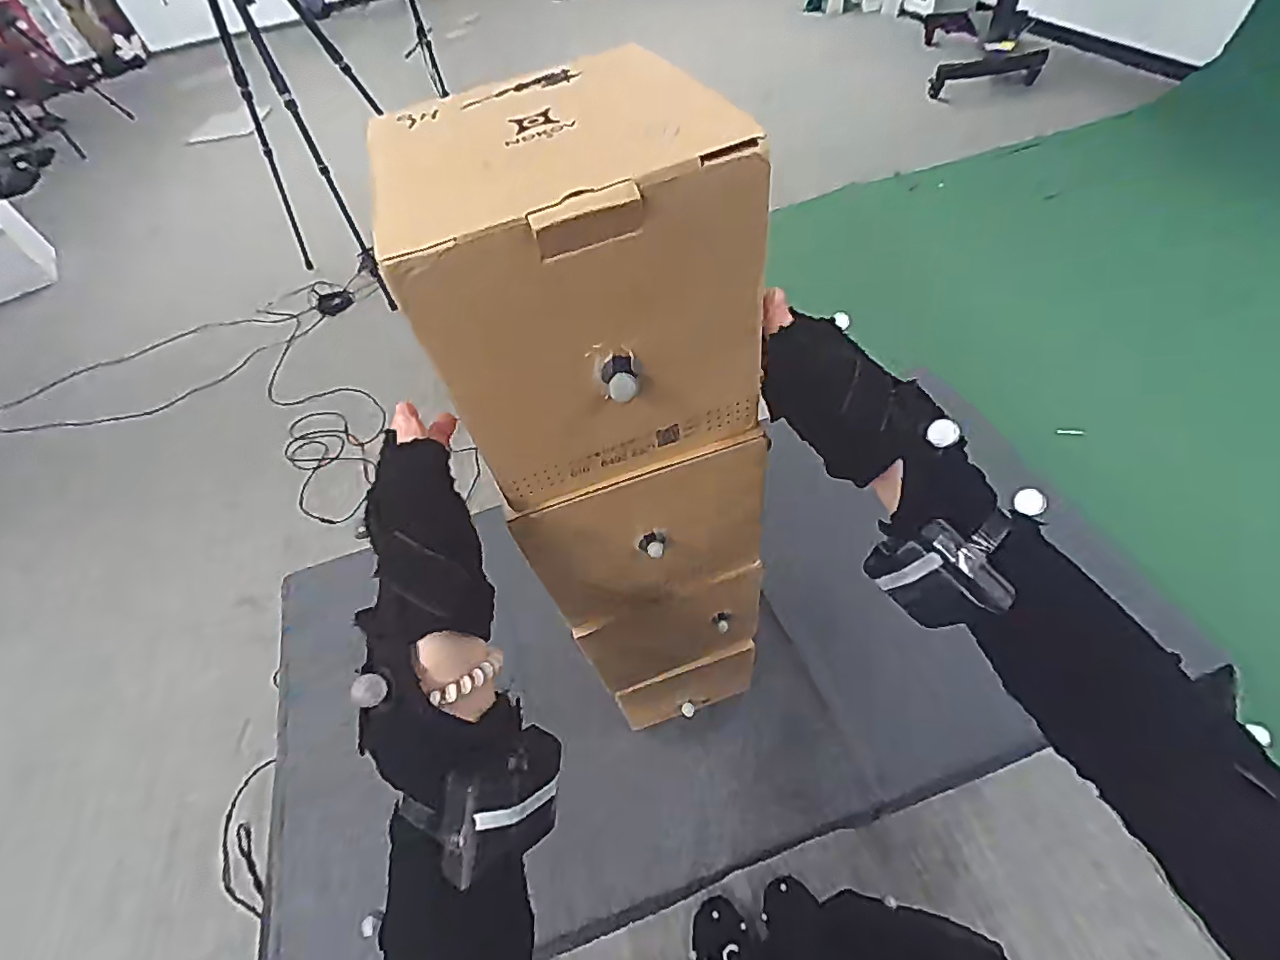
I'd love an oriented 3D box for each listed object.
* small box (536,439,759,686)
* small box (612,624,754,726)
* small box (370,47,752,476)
[{"bbox_3d":[0.008,0.091,0.575,0.179,0.176,0.168,-20,51,-6],"label":"small box"},{"bbox_3d":[0.034,0.190,0.701,0.168,0.176,0.179,-18,53,-4],"label":"small box"},{"bbox_3d":[-0.042,-0.123,0.332,0.168,0.176,0.179,-19,52,-6],"label":"small box"}]
